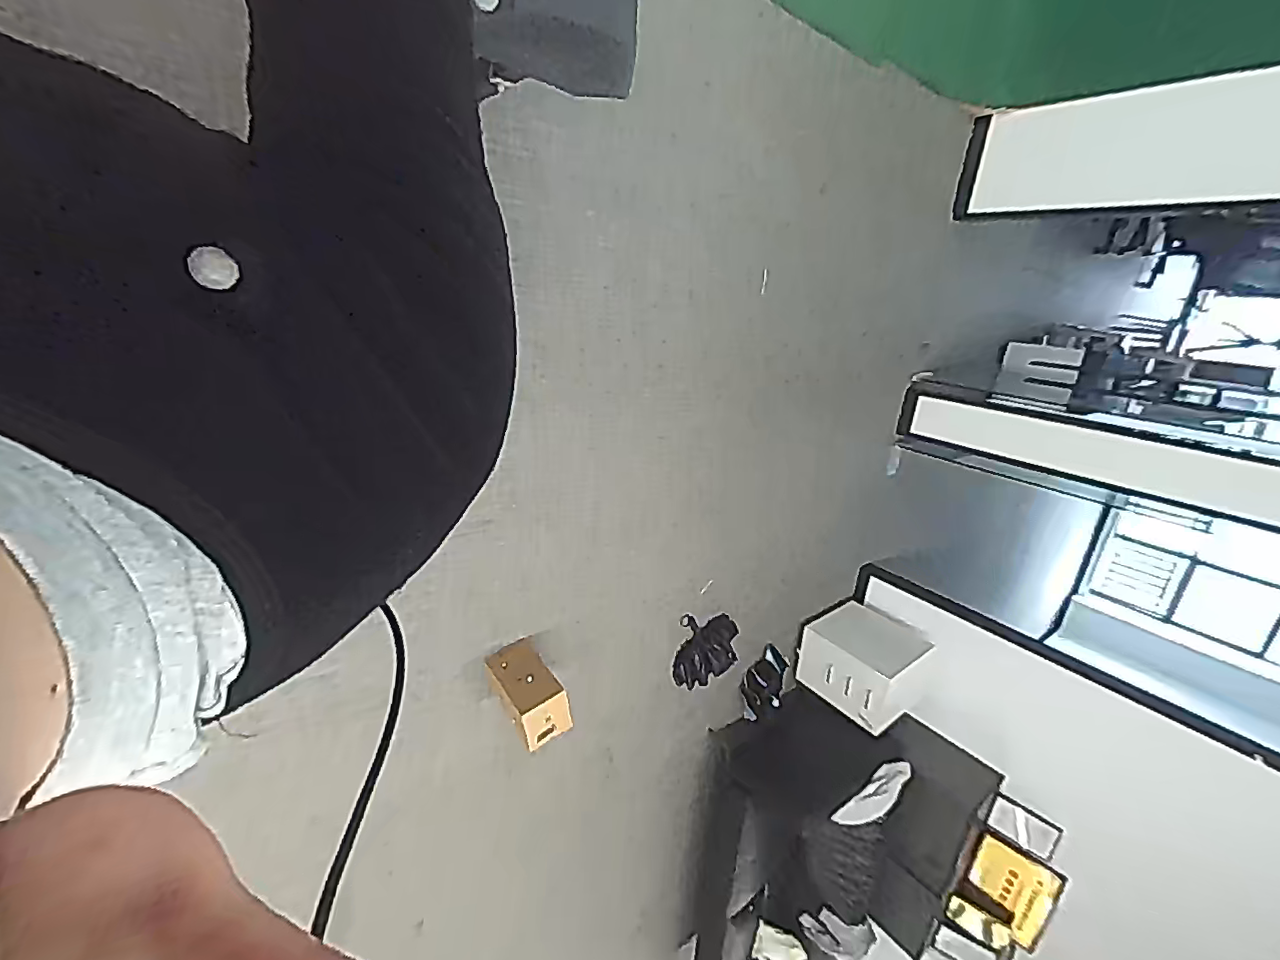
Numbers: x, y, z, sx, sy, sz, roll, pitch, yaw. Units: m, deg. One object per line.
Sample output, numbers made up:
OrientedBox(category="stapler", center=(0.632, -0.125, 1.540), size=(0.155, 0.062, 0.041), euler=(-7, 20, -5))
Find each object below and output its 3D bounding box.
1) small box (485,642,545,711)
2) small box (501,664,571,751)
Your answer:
OrientedBox(category="small box", center=(-0.448, 0.719, 1.973), size=(0.168, 0.176, 0.179), euler=(-22, 123, -29))
OrientedBox(category="small box", center=(-0.355, 0.772, 1.848), size=(0.168, 0.176, 0.179), euler=(-21, 120, -30))
